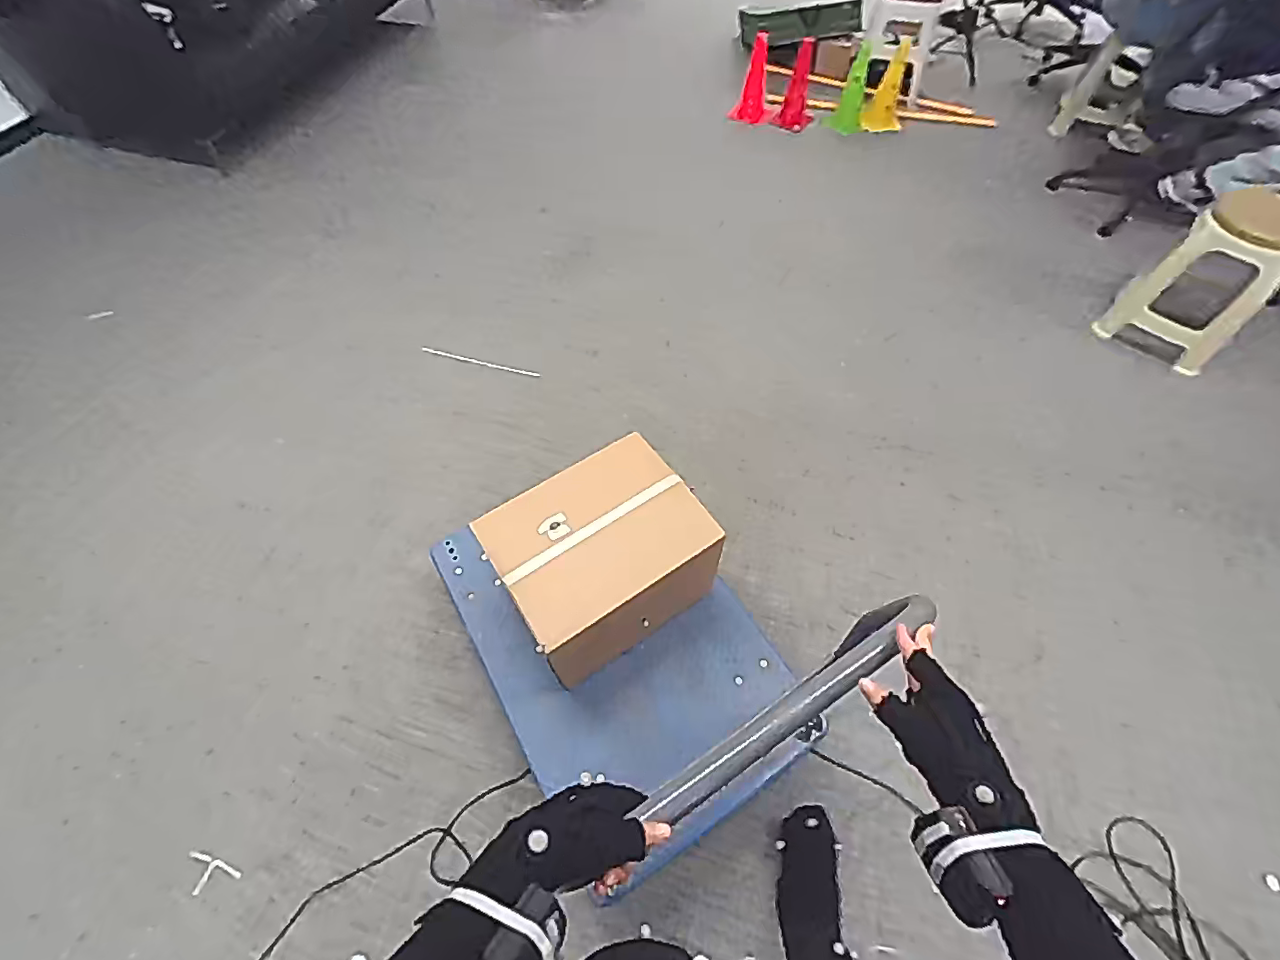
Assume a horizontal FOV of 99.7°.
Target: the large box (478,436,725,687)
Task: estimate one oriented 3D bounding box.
[{"bbox_3d":[-0.073,0.182,1.190,0.408,0.320,0.320,-32,62,-17],"label":"large box"}]
